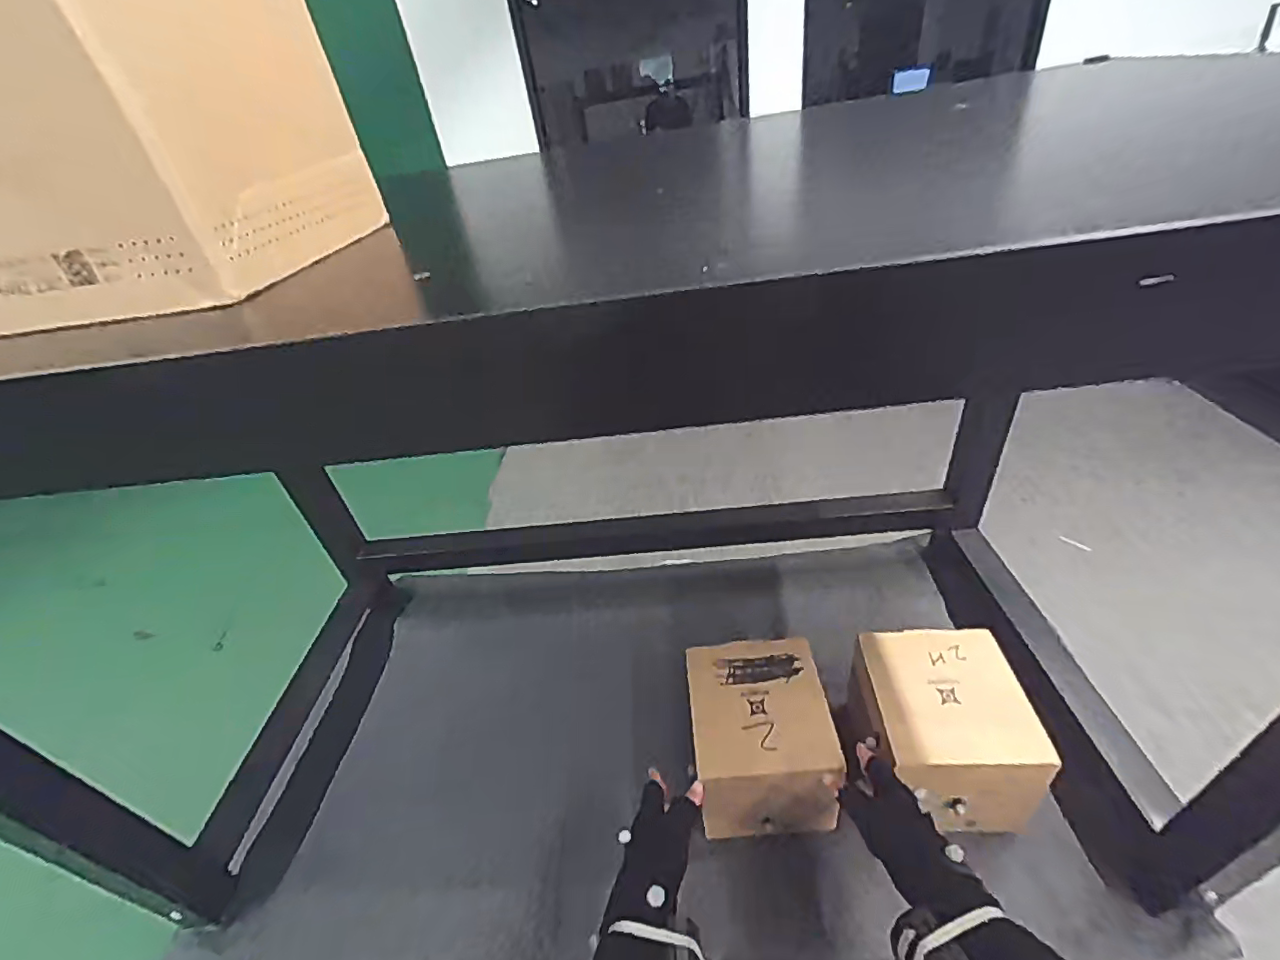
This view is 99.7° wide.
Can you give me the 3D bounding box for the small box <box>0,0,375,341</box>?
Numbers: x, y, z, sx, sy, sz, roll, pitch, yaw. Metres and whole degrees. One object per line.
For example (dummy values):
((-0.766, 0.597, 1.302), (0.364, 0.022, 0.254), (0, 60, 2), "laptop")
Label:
((-0.273, -0.179, 0.279), (0.168, 0.176, 0.179), (-5, 35, 7), "small box")
